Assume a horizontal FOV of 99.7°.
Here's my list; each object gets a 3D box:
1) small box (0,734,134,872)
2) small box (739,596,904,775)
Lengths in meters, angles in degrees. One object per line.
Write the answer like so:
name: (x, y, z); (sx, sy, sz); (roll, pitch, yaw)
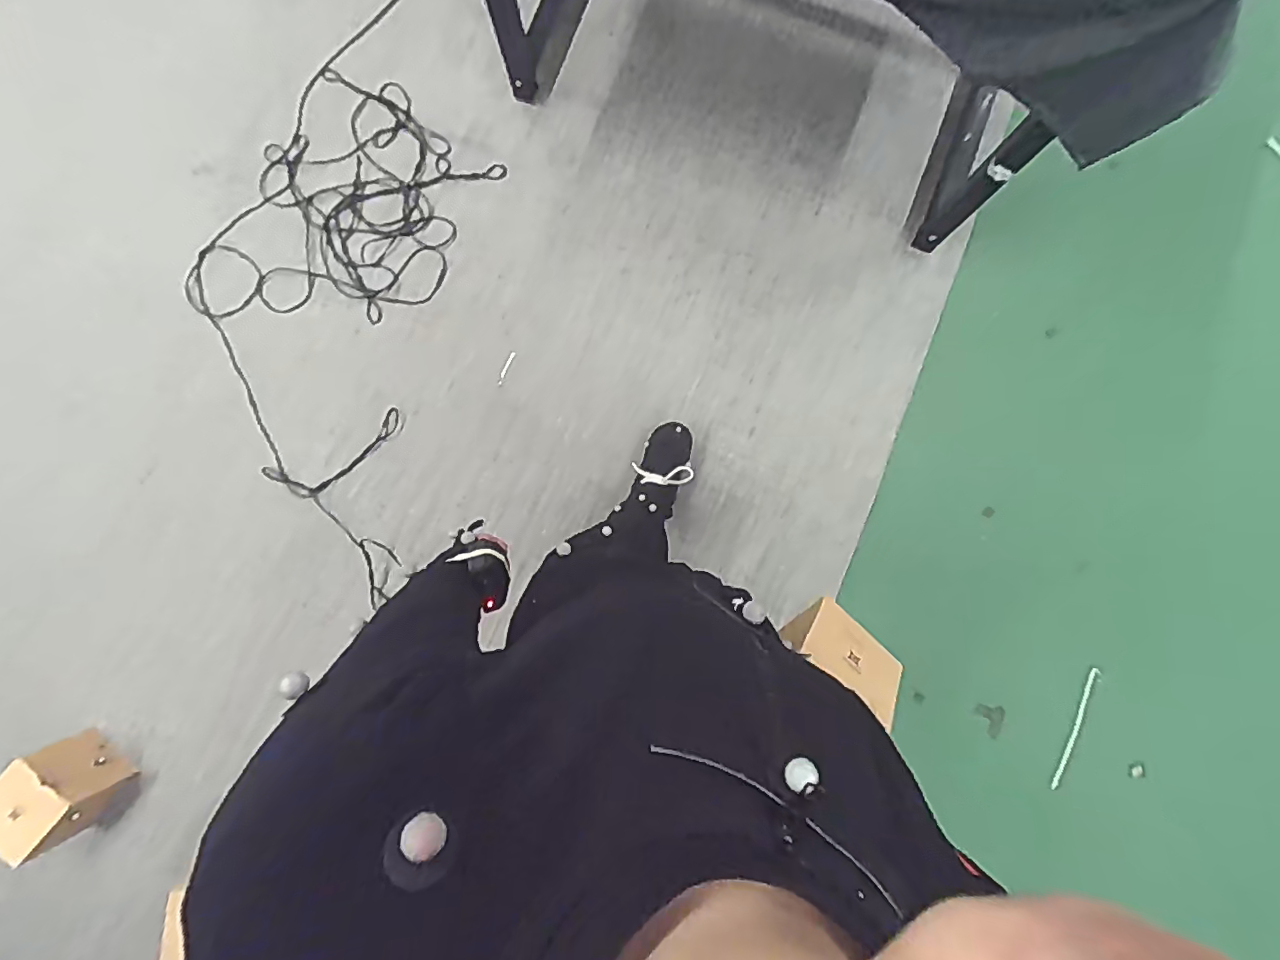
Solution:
small box: (-1.341, 0.728, 1.239); (0.168, 0.176, 0.179); (40, 87, 3)
small box: (0.283, 0.325, 0.859); (0.168, 0.179, 0.176); (45, 124, 9)
